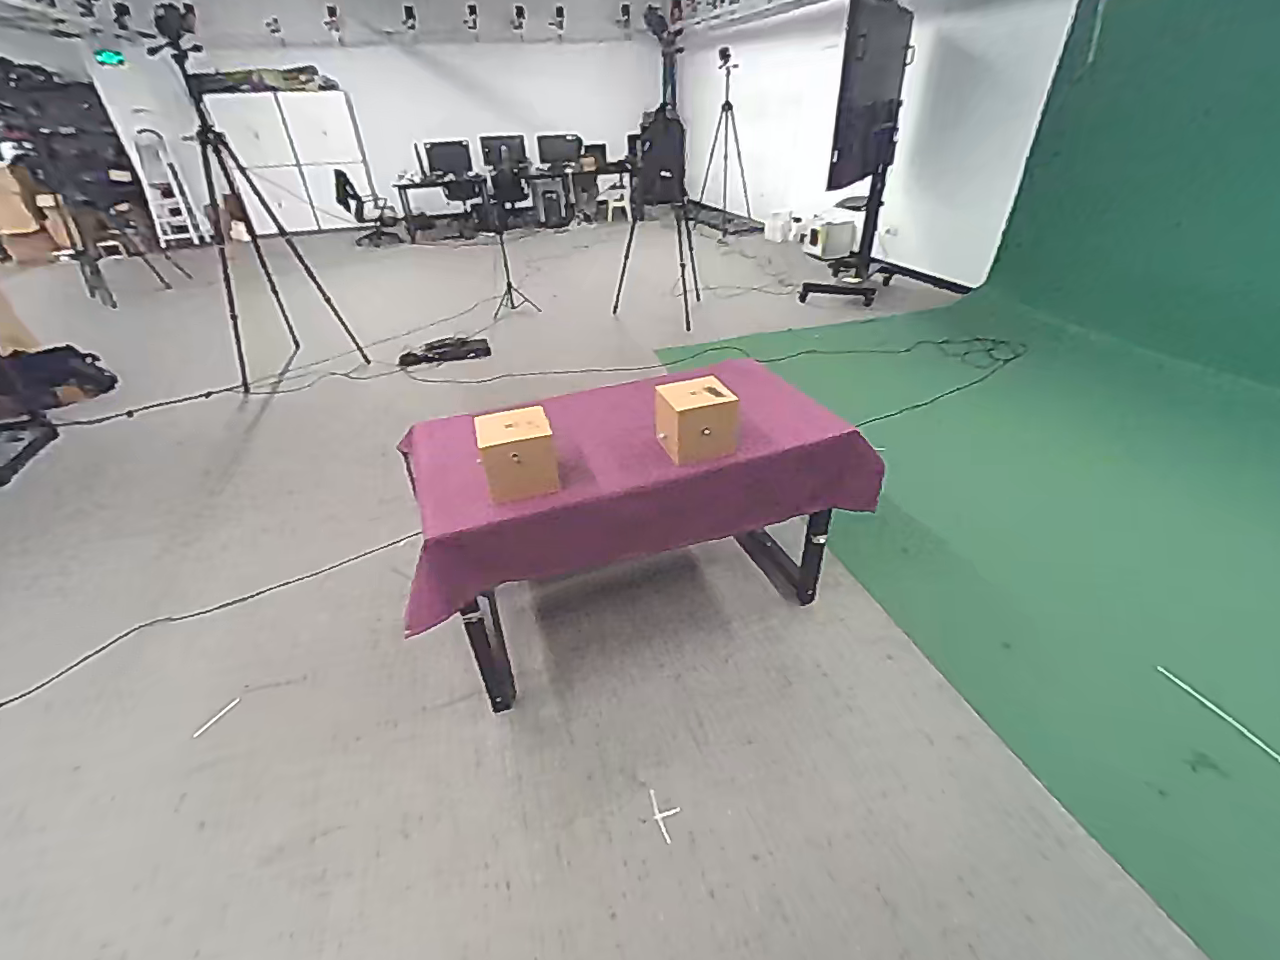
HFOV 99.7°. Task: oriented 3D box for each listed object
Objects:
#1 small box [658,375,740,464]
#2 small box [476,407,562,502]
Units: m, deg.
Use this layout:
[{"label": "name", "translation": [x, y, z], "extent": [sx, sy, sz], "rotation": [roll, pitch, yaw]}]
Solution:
[{"label": "small box", "translation": [0.156, -0.165, 1.481], "extent": [0.179, 0.176, 0.168], "rotation": [-13, 36, -13]}, {"label": "small box", "translation": [-0.306, -0.063, 1.368], "extent": [0.179, 0.176, 0.168], "rotation": [-12, 36, -13]}]
